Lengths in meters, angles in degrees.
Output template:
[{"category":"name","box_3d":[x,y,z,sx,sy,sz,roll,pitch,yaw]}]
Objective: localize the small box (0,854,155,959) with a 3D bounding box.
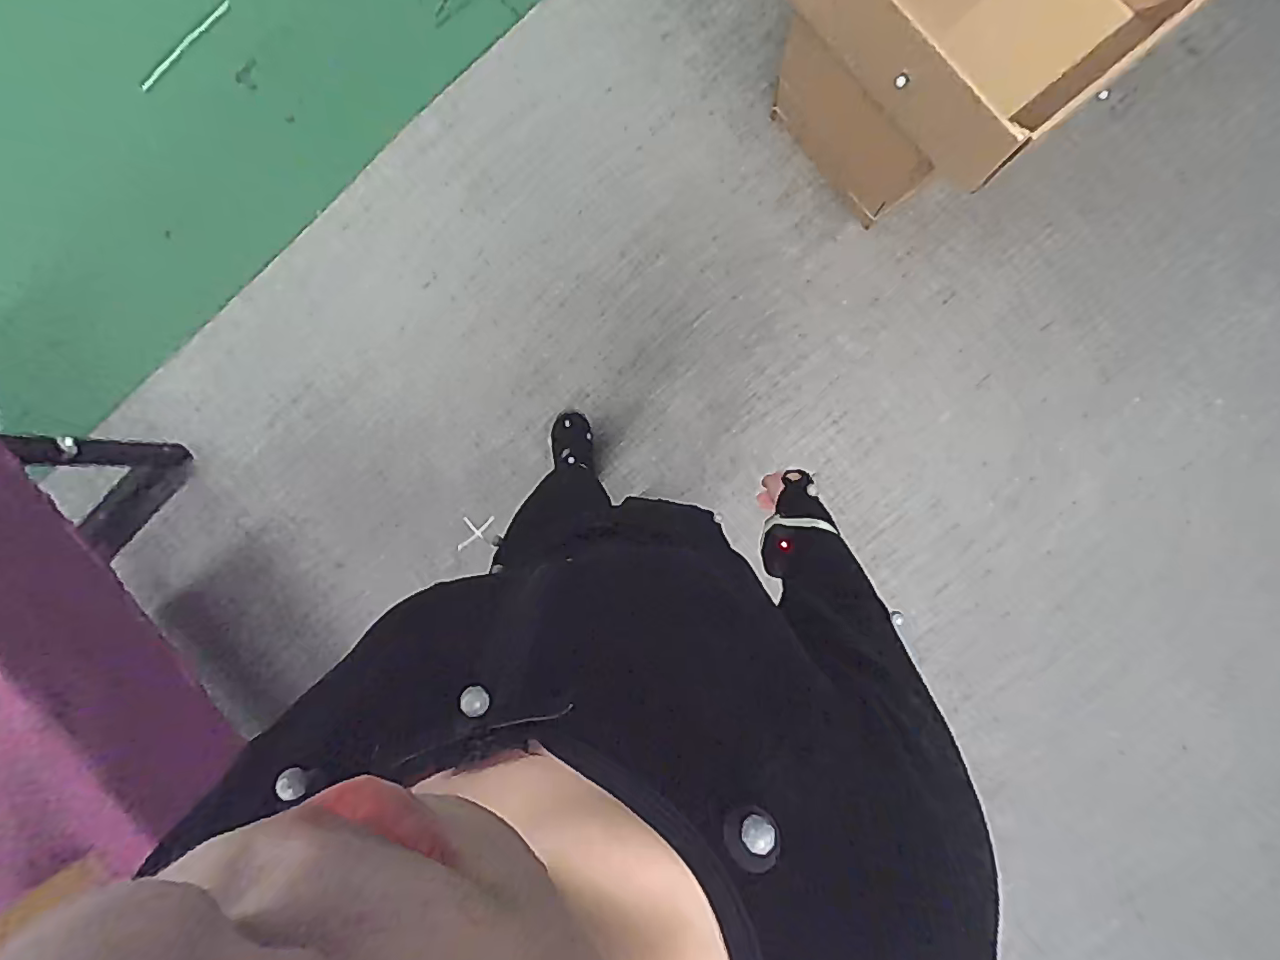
[{"category":"small box","box_3d":[-0.850,0.687,0.762,0.179,0.176,0.168,-42,87,5]}]
